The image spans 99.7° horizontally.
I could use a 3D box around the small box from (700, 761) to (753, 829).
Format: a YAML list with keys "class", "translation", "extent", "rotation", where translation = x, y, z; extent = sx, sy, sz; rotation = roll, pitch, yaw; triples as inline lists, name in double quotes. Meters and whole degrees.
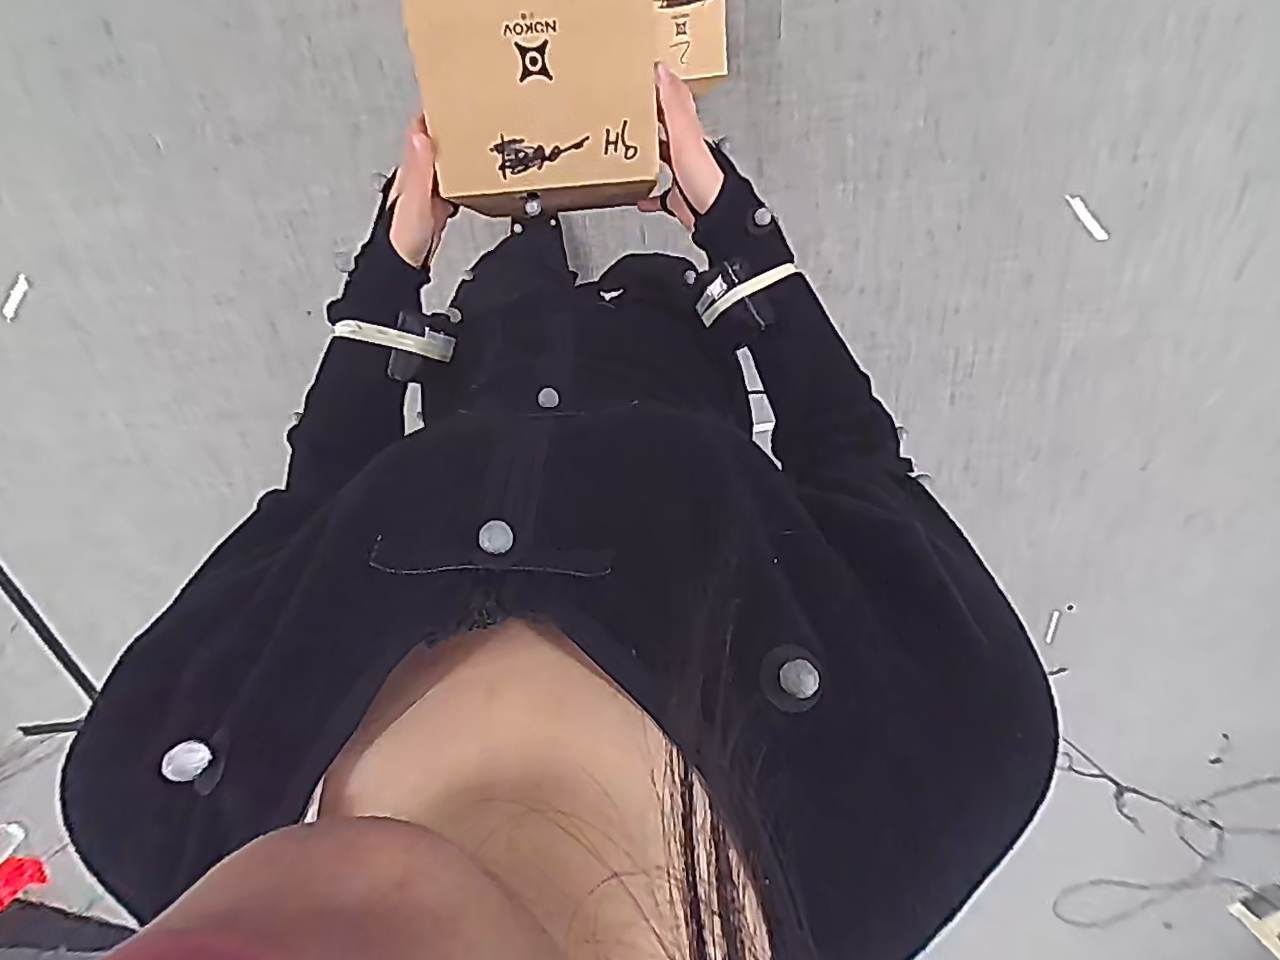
- class: "small box"
  translation: [0.333, 1.221, 2.103]
  extent: [0.179, 0.176, 0.168]
  rotation: [-4, 115, 0]

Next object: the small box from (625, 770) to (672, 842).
- class: "small box"
  translation: [0.032, 1.273, 2.114]
  extent: [0.168, 0.176, 0.179]
  rotation: [-8, 115, 1]

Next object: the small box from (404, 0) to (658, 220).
- class: "small box"
  translation: [-0.079, -0.323, 0.443]
  extent: [0.168, 0.176, 0.179]
  rotation: [-6, 111, -2]
